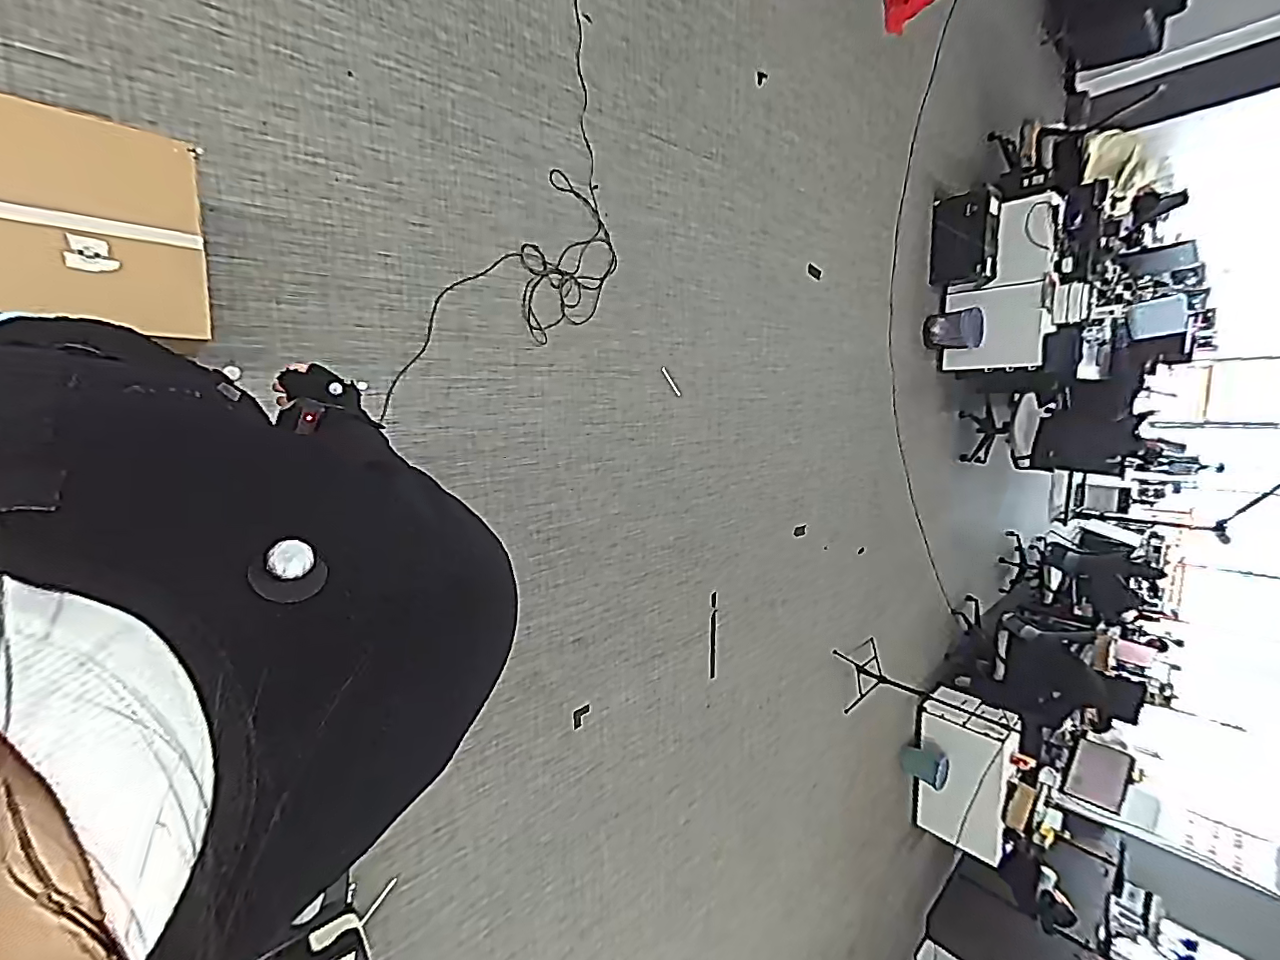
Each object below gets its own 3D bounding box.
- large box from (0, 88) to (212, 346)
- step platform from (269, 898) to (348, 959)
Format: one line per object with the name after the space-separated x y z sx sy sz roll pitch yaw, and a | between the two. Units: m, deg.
-0.974 -0.400 0.873 0.408 0.320 0.320 -6 100 -43 | large box
-0.999 1.263 1.153 0.684 0.204 0.286 -10 103 -40 | step platform
